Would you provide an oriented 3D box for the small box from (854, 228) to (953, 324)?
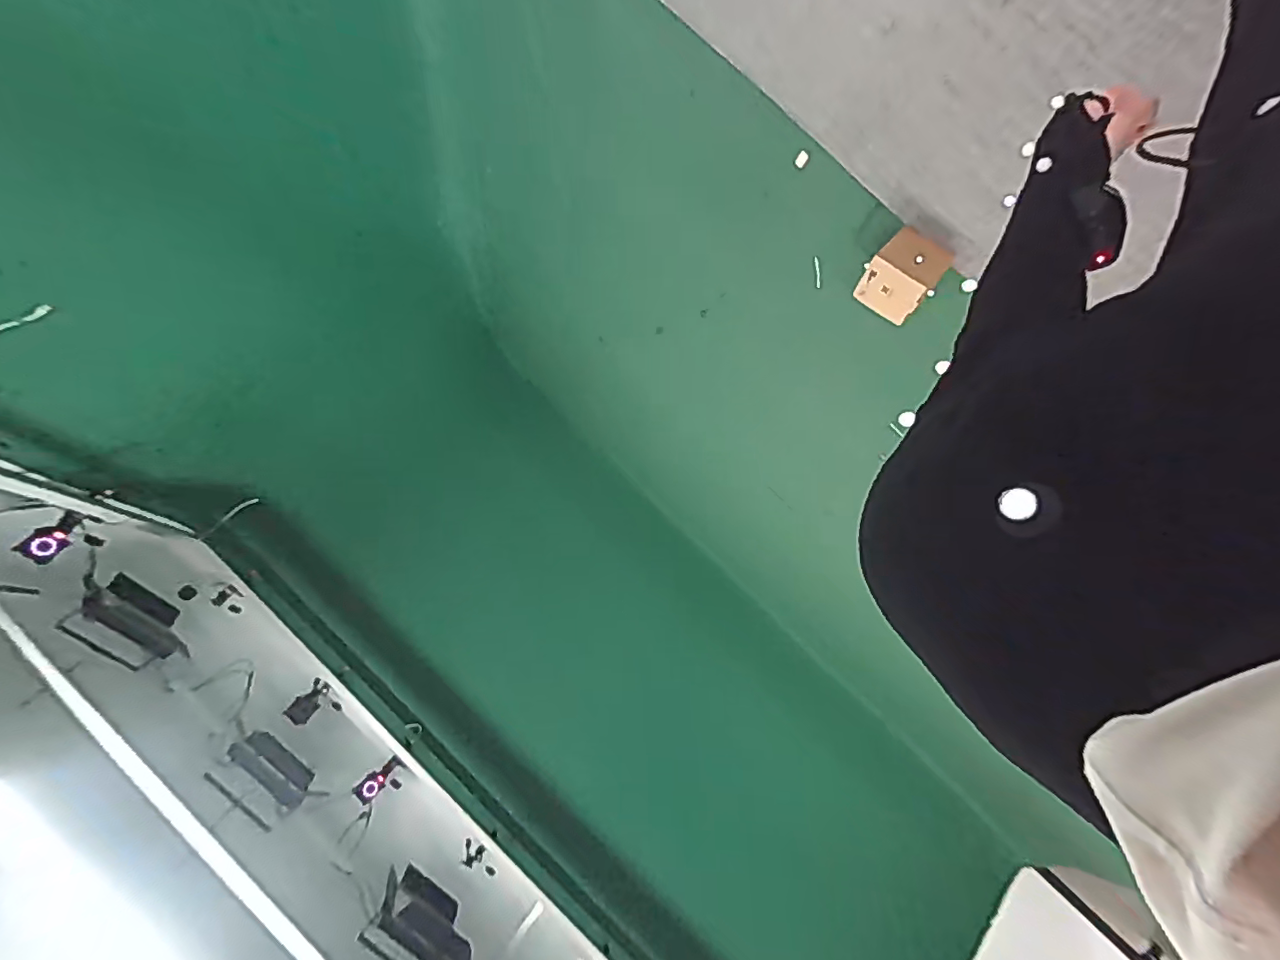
[{"bbox_3d":[0.785,-0.611,1.611,0.179,0.176,0.168,40,159,13],"label":"small box"}]
